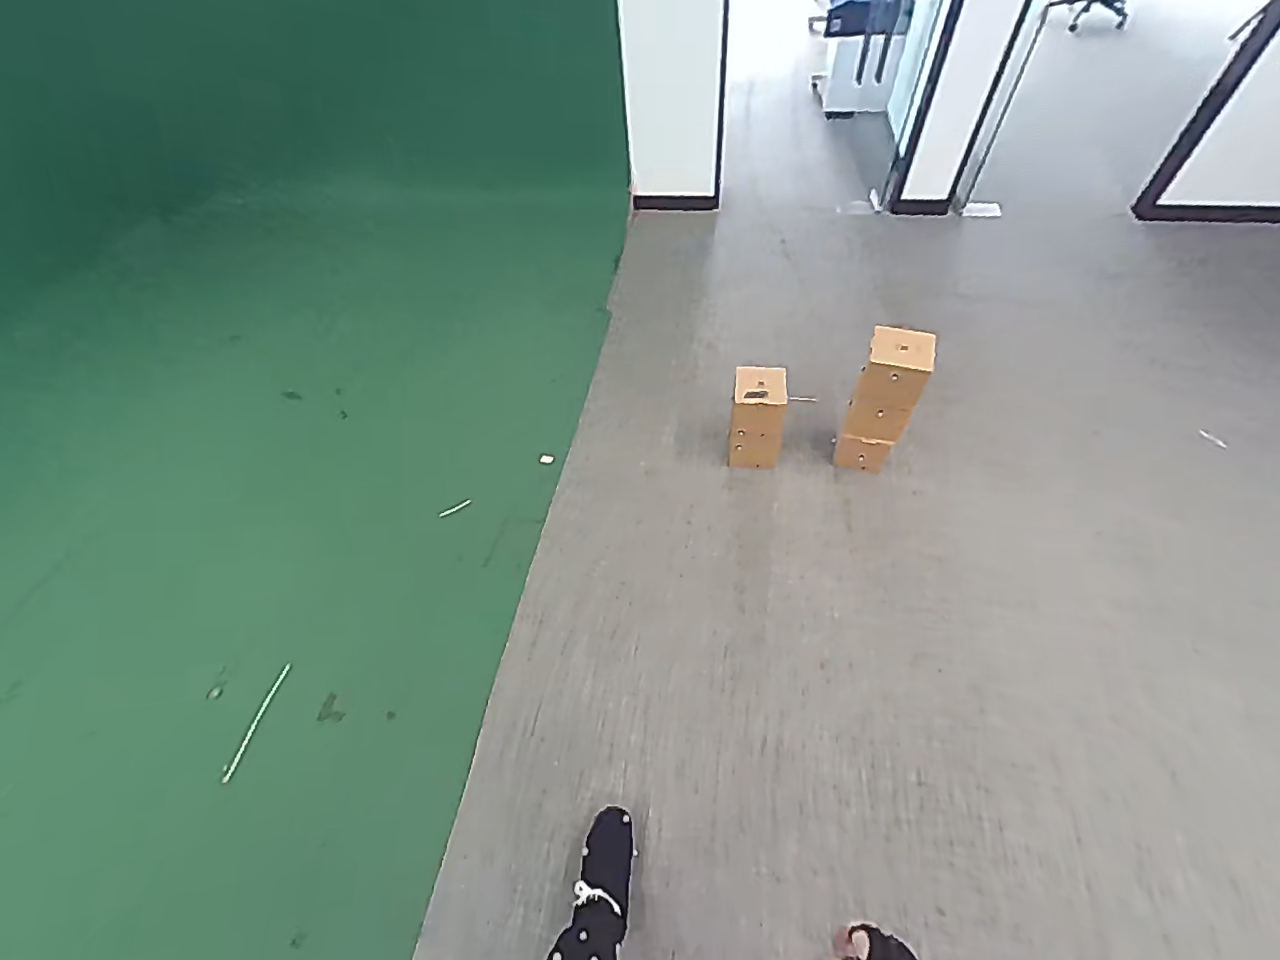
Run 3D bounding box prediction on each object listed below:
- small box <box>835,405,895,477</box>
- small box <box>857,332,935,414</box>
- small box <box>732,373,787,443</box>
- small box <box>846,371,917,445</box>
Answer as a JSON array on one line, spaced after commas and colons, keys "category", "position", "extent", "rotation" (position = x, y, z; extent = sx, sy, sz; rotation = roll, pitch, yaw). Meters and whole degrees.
[{"category": "small box", "position": [0.794, -0.133, 1.911], "extent": [0.168, 0.176, 0.179], "rotation": [12, 56, 13]}, {"category": "small box", "position": [0.776, -0.324, 1.649], "extent": [0.179, 0.176, 0.168], "rotation": [14, 57, 15]}, {"category": "small box", "position": [0.399, -0.240, 1.820], "extent": [0.168, 0.176, 0.179], "rotation": [3, 53, 7]}, {"category": "small box", "position": [0.794, -0.235, 1.784], "extent": [0.179, 0.176, 0.168], "rotation": [10, 55, 13]}]
